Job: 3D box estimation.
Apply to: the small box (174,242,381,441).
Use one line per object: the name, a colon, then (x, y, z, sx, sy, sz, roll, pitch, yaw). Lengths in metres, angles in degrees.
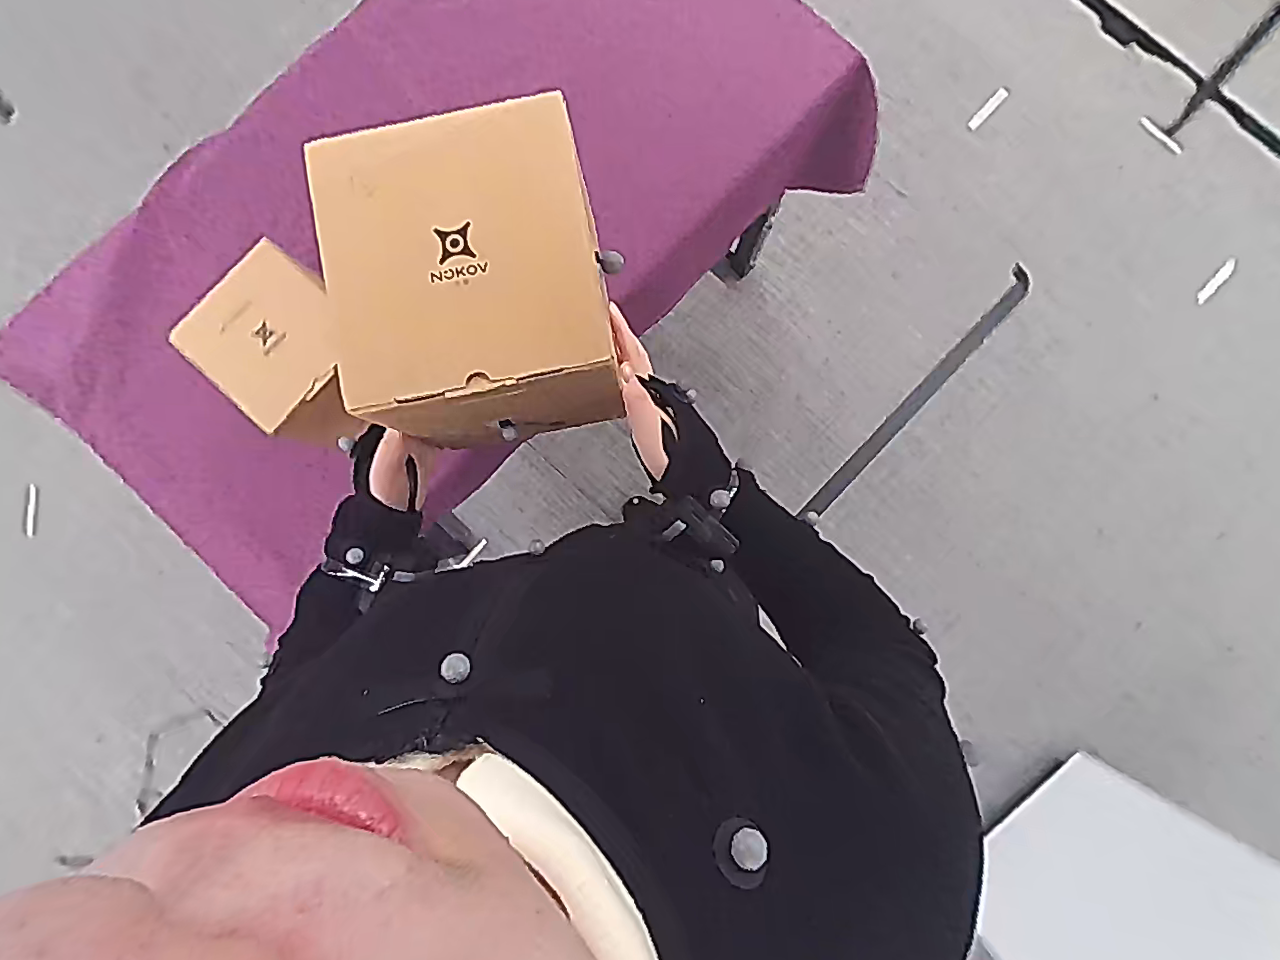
small box: (-0.433, -0.166, 0.717, 0.179, 0.176, 0.168, 43, 88, 3)

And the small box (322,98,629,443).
small box: (-0.103, -0.135, 0.409, 0.168, 0.176, 0.179, -10, 87, 1)
